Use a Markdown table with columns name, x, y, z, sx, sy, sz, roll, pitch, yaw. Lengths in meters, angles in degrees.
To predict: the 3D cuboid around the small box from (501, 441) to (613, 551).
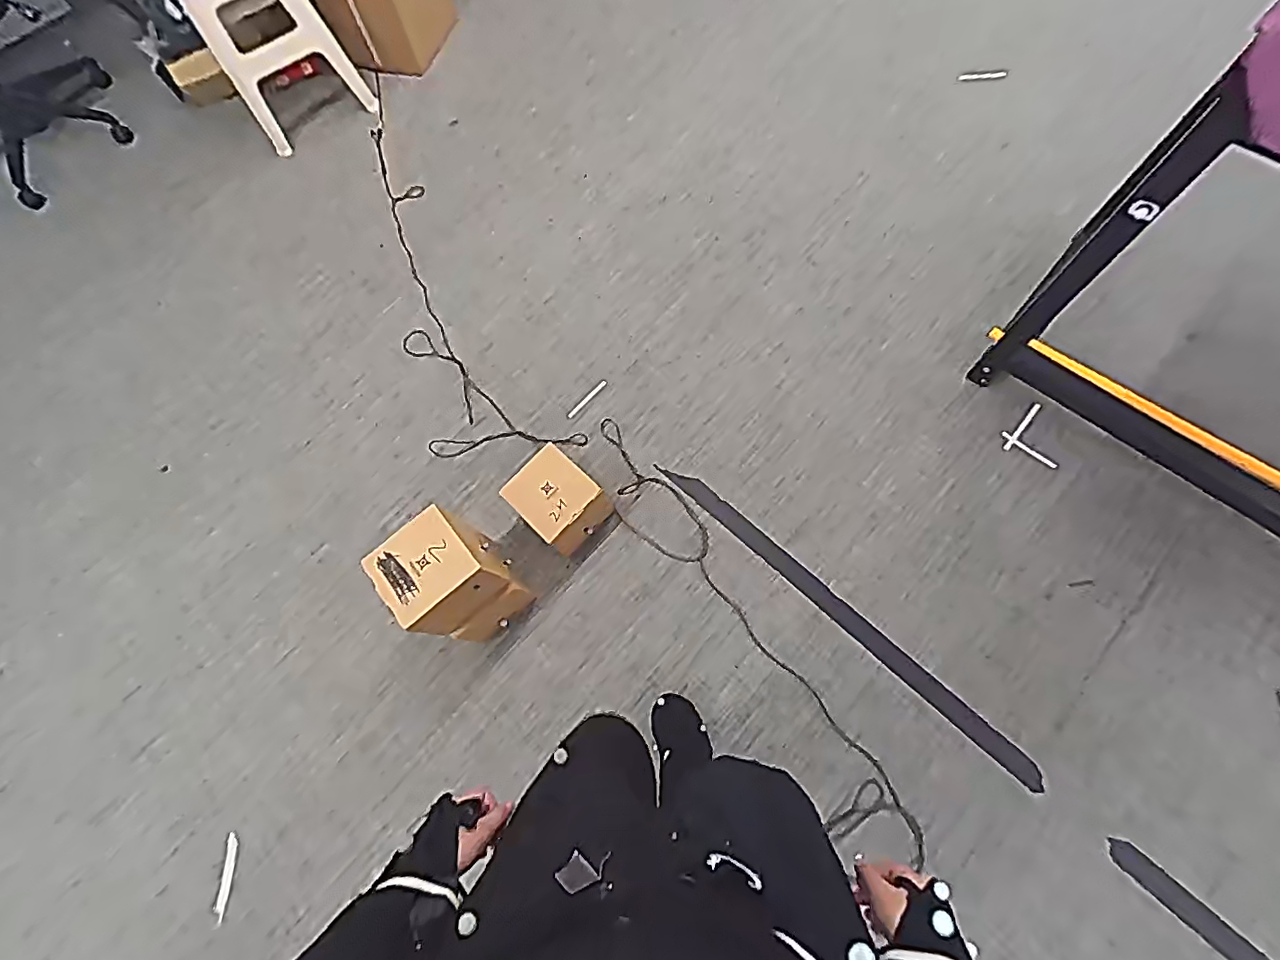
| name | x | y | z | sx | sy | sz | roll | pitch | yaw |
| --- | --- | --- | --- | --- | --- | --- | --- | --- | --- |
| small box | -0.186 | 0.046 | 1.262 | 0.179 | 0.176 | 0.168 | 42 | 82 | 17 |

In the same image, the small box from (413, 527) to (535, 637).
| name | x | y | z | sx | sy | sz | roll | pitch | yaw |
| --- | --- | --- | --- | --- | --- | --- | --- | --- | --- |
| small box | -0.365 | 0.237 | 1.215 | 0.168 | 0.176 | 0.179 | -40 | 73 | -7 |
